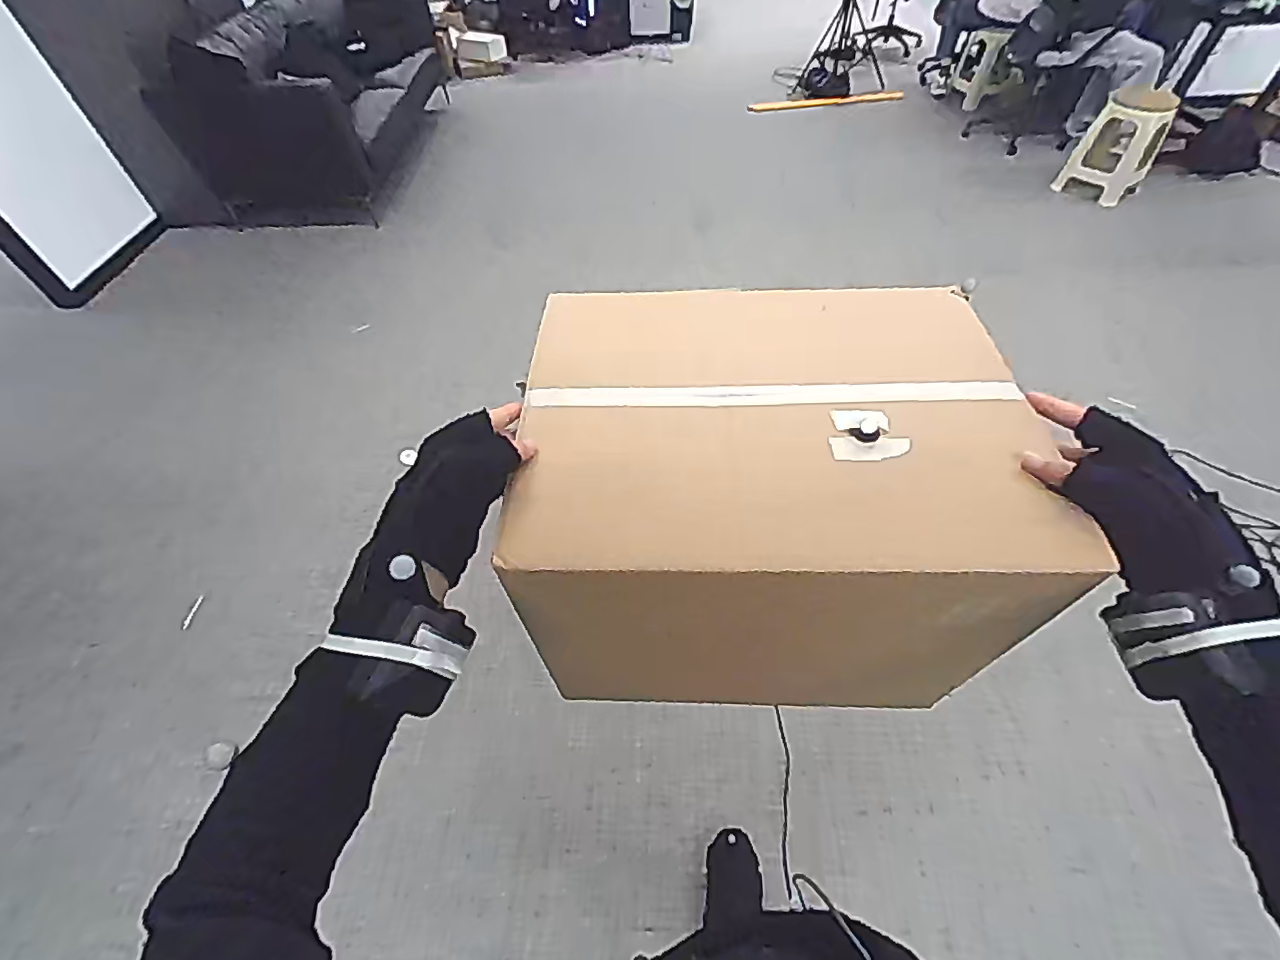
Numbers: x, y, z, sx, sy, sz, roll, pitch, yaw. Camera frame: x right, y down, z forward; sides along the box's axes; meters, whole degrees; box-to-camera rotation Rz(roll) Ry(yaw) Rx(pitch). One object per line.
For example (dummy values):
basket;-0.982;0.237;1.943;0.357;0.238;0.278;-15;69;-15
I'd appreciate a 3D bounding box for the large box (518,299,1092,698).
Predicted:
large box;0.114;0.030;0.578;0.408;0.320;0.320;0;53;2
